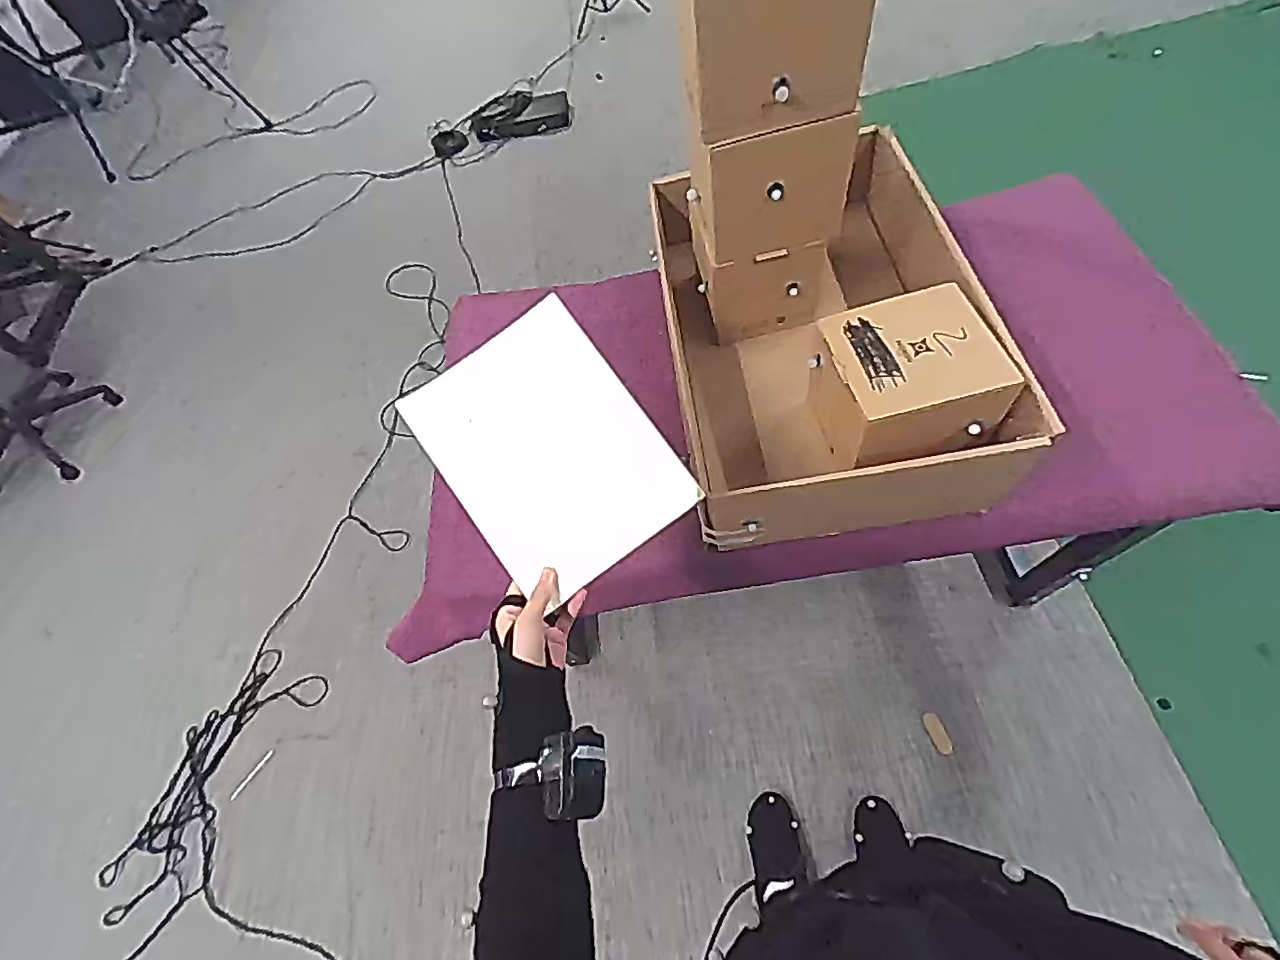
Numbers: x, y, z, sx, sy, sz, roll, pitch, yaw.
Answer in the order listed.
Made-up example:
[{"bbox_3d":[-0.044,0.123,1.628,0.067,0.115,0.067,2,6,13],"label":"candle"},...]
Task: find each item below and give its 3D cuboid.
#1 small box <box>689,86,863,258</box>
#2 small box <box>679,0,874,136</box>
[{"bbox_3d":[0.165,-0.427,0.711,0.179,0.176,0.168,-12,61,5],"label":"small box"},{"bbox_3d":[0.135,-0.504,0.569,0.179,0.176,0.168,-9,61,4],"label":"small box"}]
